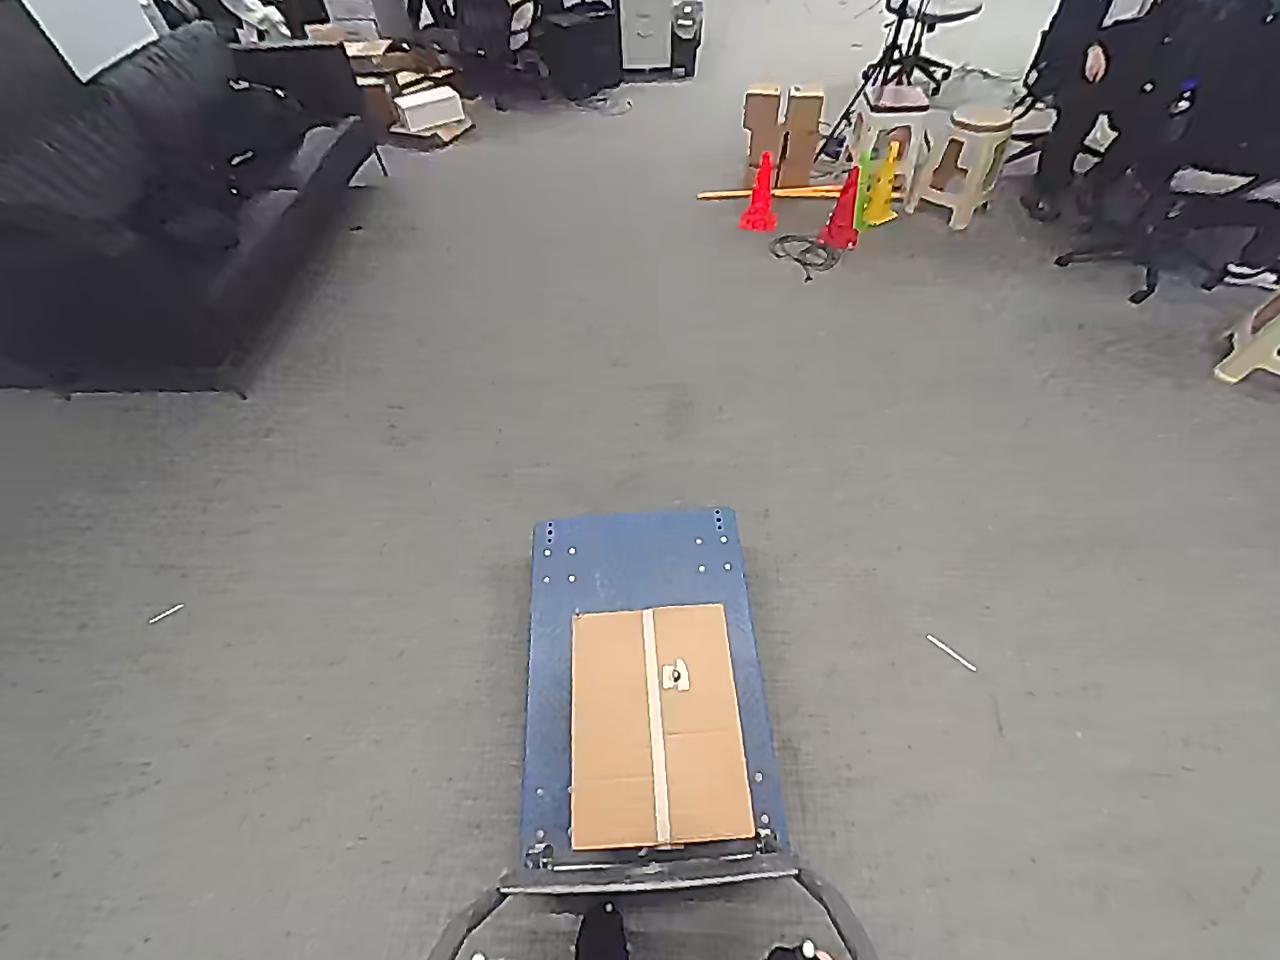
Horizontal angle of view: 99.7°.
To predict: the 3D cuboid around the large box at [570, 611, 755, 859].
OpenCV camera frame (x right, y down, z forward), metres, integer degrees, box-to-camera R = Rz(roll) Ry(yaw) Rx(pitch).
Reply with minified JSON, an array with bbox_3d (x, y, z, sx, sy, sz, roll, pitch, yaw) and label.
[{"bbox_3d":[0.034,0.529,1.134,0.320,0.320,0.408,-5,59,0],"label":"large box"}]
